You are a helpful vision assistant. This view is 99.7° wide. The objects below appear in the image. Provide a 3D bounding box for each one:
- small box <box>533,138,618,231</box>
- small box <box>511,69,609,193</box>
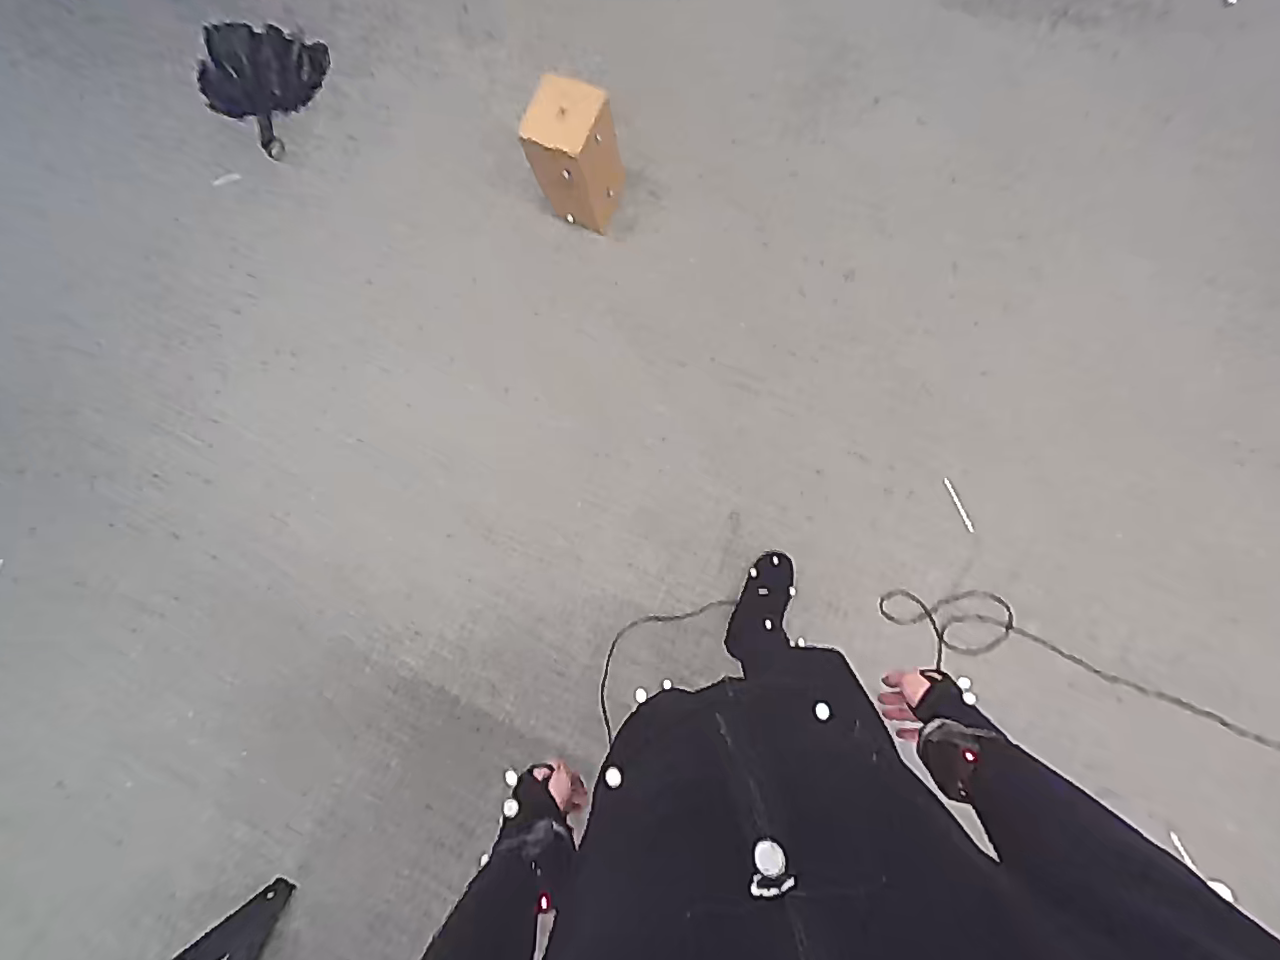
[{"bbox_3d":[-0.169,-0.834,1.499,0.168,0.176,0.179,23,86,9],"label":"small box"},{"bbox_3d":[-0.188,-0.854,1.339,0.168,0.176,0.179,22,85,8],"label":"small box"}]
